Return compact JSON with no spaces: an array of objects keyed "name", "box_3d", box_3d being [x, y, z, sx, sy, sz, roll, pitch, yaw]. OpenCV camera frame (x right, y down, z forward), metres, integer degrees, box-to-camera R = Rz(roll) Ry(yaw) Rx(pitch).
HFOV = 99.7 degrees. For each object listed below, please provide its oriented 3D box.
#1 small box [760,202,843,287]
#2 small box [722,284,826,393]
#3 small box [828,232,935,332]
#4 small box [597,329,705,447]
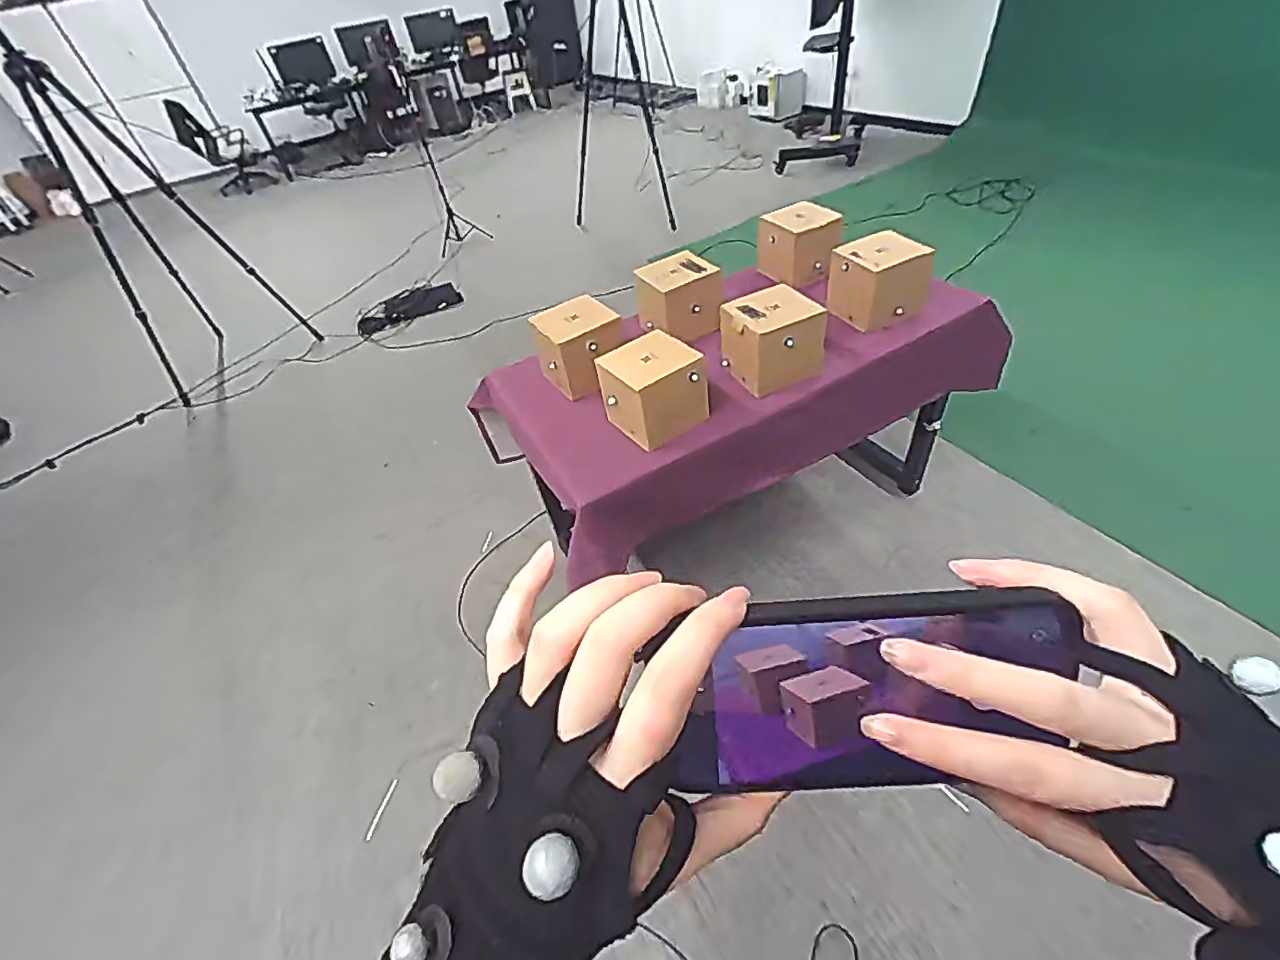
[{"name":"small box","box_3d":[0.468,-0.695,1.599,0.168,0.176,0.179,-25,47,-13]},{"name":"small box","box_3d":[0.308,-0.329,1.267,0.179,0.176,0.168,-22,46,-12]},{"name":"small box","box_3d":[0.609,-0.509,1.389,0.179,0.176,0.168,-21,45,-11]},{"name":"small box","box_3d":[0.032,-0.201,1.193,0.179,0.176,0.168,-31,48,-21]}]
